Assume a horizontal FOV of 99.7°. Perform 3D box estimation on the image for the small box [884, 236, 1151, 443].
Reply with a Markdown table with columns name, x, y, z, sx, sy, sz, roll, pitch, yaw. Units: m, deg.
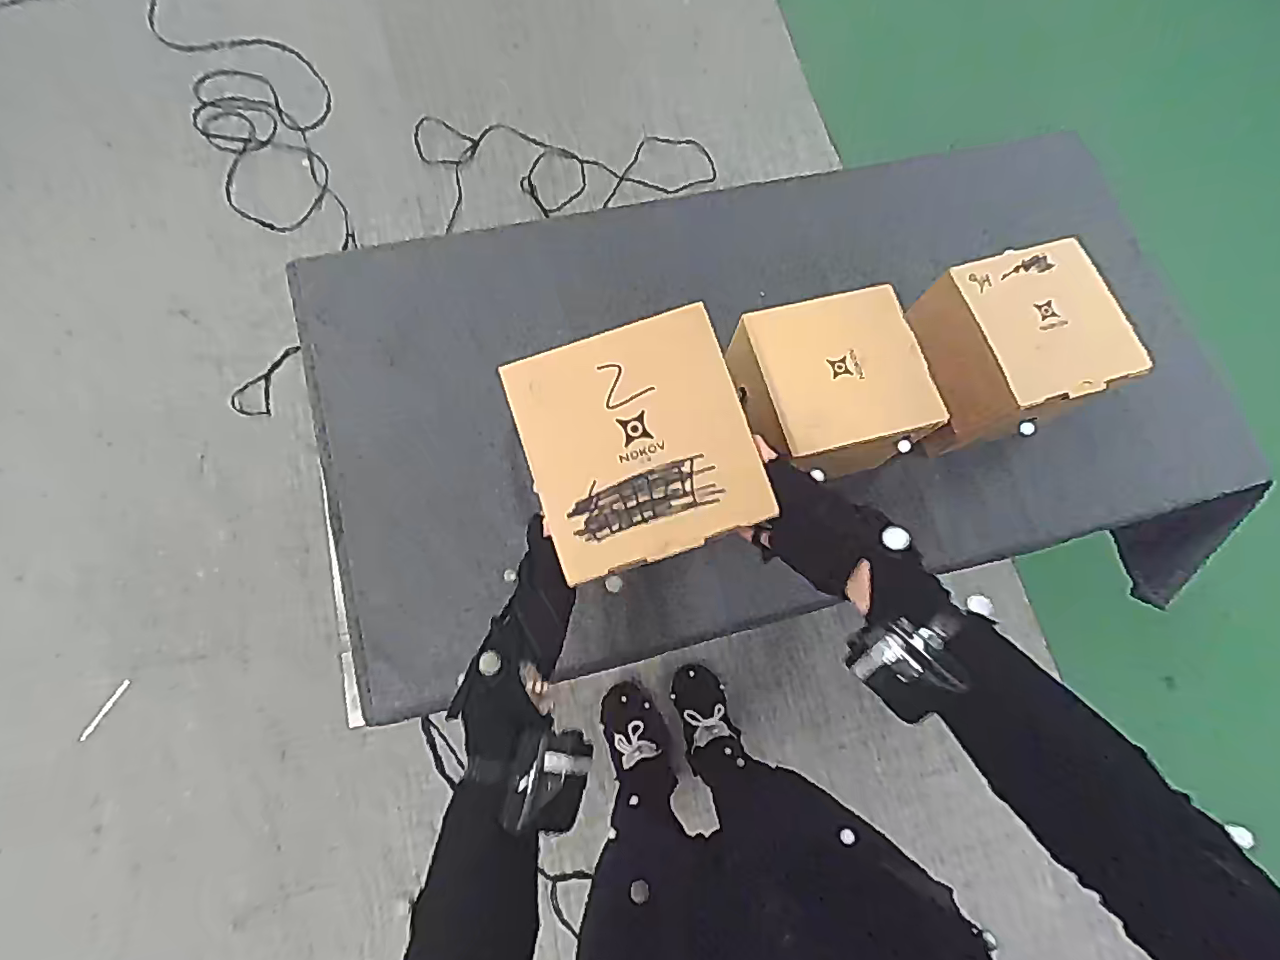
| name | x | y | z | sx | sy | sz | roll | pitch | yaw |
| --- | --- | --- | --- | --- | --- | --- | --- | --- | --- |
| small box | 0.437 | -0.156 | 0.659 | 0.168 | 0.176 | 0.179 | -14 | 77 | -8 |
